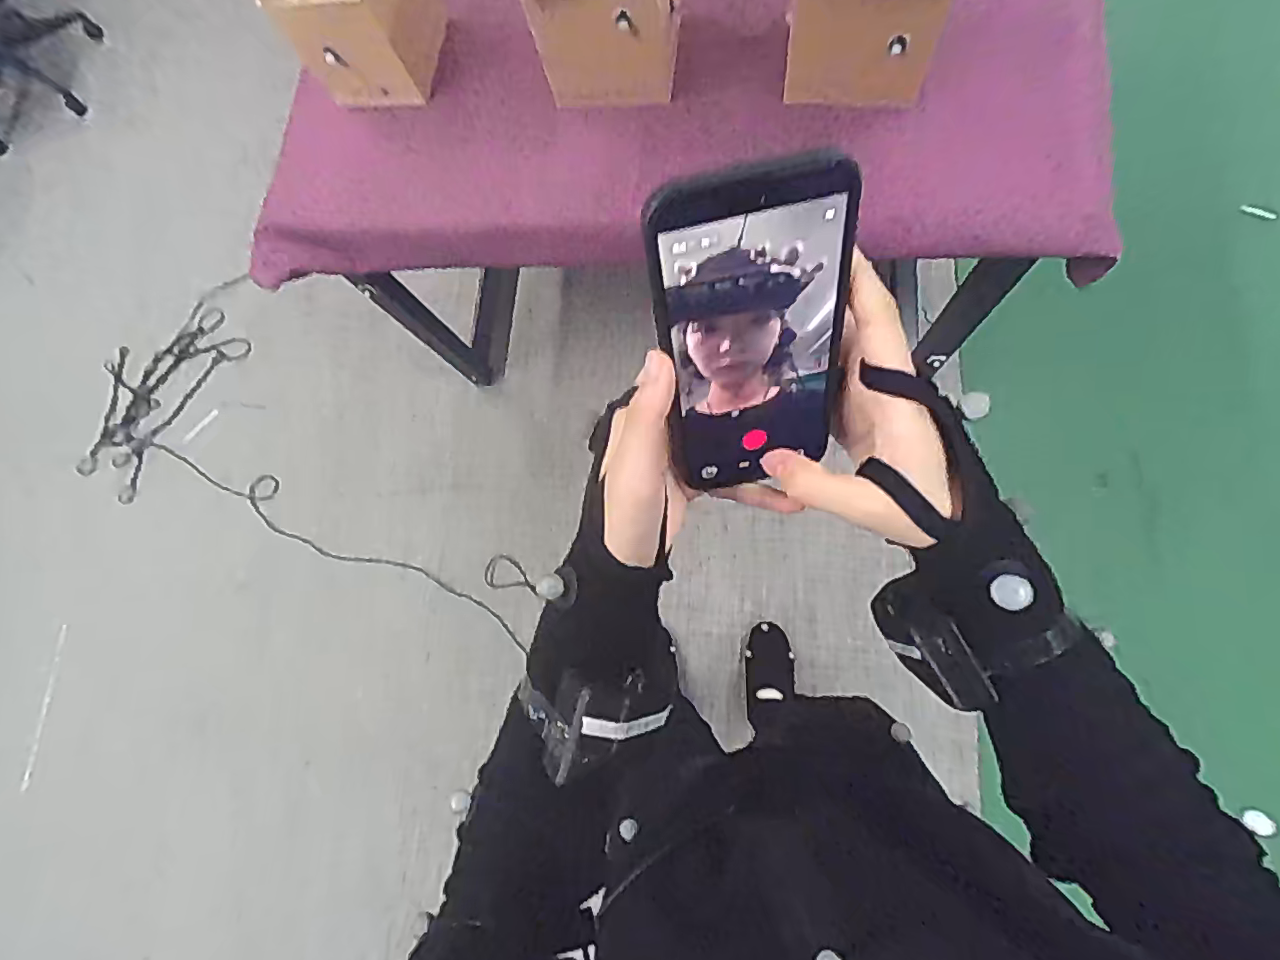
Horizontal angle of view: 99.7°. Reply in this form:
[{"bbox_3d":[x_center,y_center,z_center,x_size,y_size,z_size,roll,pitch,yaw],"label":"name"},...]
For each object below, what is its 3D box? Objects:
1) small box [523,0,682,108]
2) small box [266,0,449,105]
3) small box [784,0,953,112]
[{"bbox_3d":[-0.040,-0.655,0.752,0.179,0.176,0.168,6,79,11],"label":"small box"},{"bbox_3d":[-0.418,-0.714,0.831,0.168,0.176,0.179,6,79,11],"label":"small box"},{"bbox_3d":[0.292,-0.607,0.687,0.179,0.176,0.168,12,80,13],"label":"small box"}]
